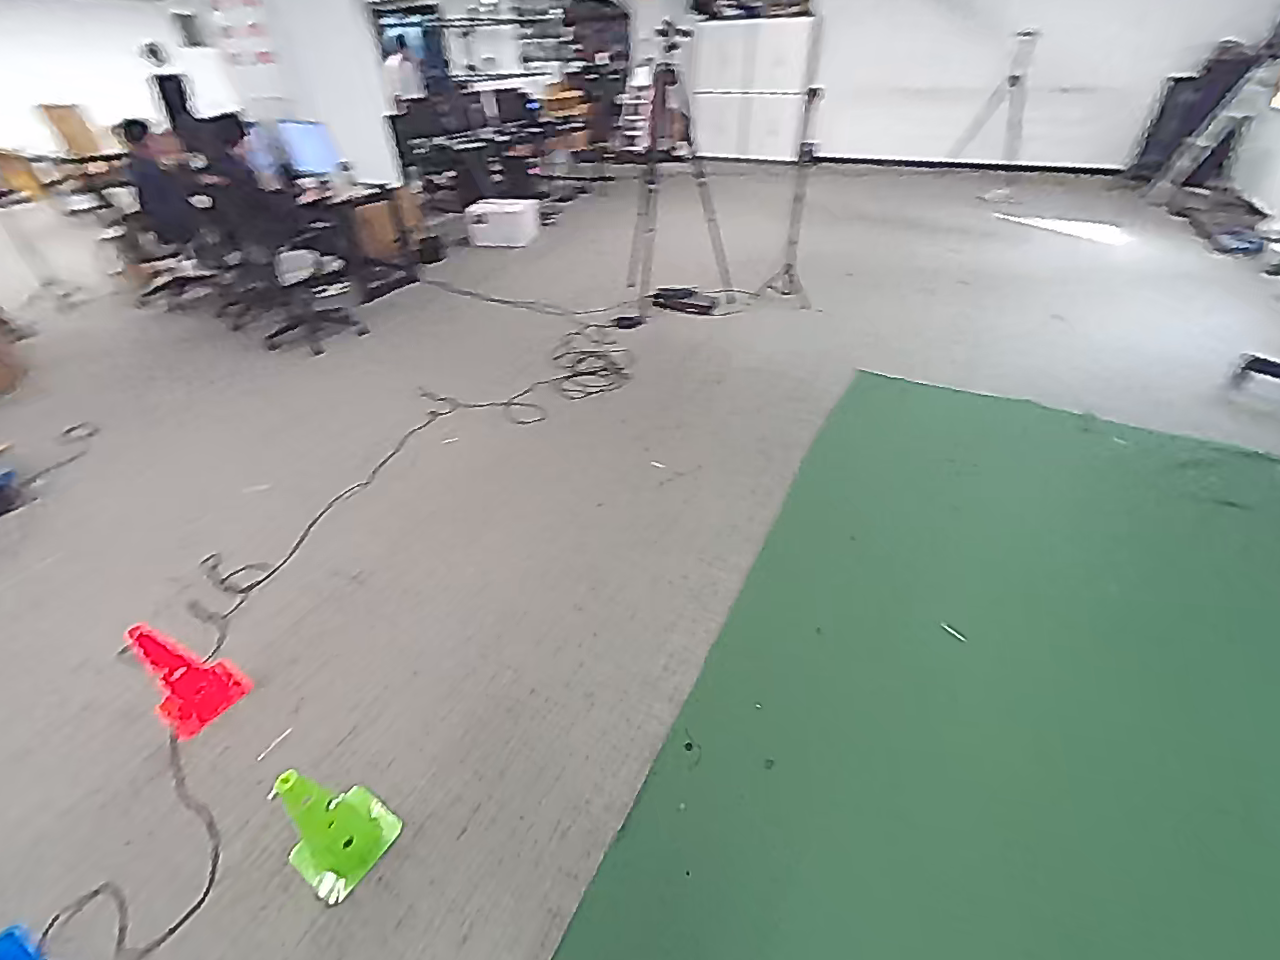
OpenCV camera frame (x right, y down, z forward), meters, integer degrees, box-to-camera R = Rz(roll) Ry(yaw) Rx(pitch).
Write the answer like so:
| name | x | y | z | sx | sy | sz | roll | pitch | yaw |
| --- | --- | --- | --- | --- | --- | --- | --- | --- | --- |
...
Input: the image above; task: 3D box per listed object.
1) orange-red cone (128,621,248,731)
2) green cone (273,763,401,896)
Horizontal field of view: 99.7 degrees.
| name | x | y | z | sx | sy | sz | roll | pitch | yaw |
| --- | --- | --- | --- | --- | --- | --- | --- | --- | --- |
| orange-red cone | -1.360 | 0.531 | 1.576 | 0.199 | 0.360 | 0.198 | 23 | 46 | 26 |
| green cone | -0.743 | 0.759 | 1.256 | 0.202 | 0.368 | 0.200 | 19 | 43 | 26 |
